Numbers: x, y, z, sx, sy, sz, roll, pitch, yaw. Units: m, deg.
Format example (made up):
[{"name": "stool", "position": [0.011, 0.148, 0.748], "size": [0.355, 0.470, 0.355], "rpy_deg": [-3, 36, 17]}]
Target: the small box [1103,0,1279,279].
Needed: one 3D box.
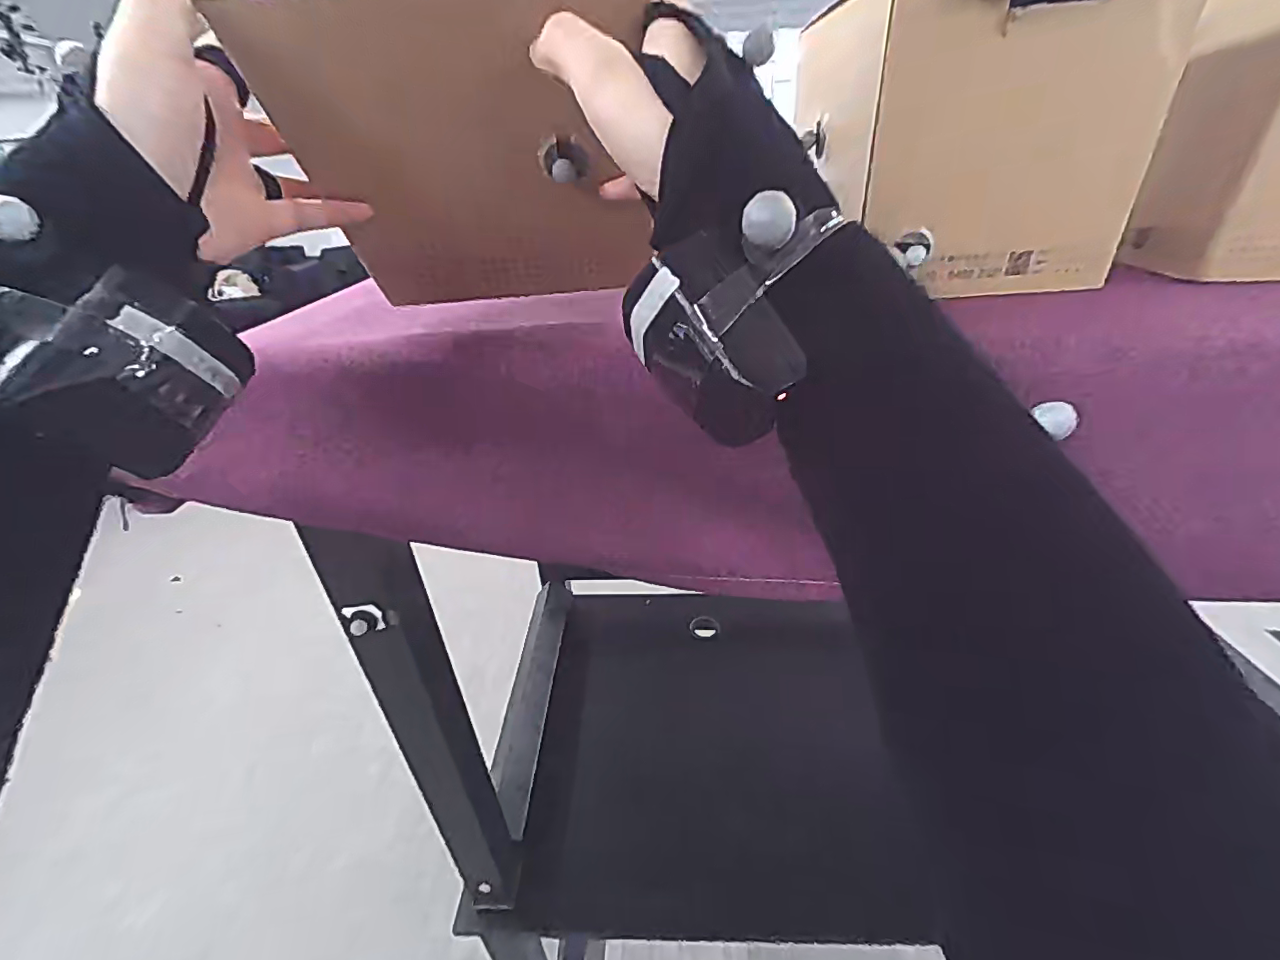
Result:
[{"name": "small box", "position": [0.441, -0.237, 0.360], "size": [0.179, 0.176, 0.168], "rpy_deg": [1, 30, 6]}]

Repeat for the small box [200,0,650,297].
[{"name": "small box", "position": [-0.085, -0.228, 0.310], "size": [0.179, 0.176, 0.168], "rpy_deg": [-4, 64, 1]}]

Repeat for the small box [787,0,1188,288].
[{"name": "small box", "position": [0.209, -0.233, 0.376], "size": [0.168, 0.176, 0.179], "rpy_deg": [-3, 30, 0]}]
